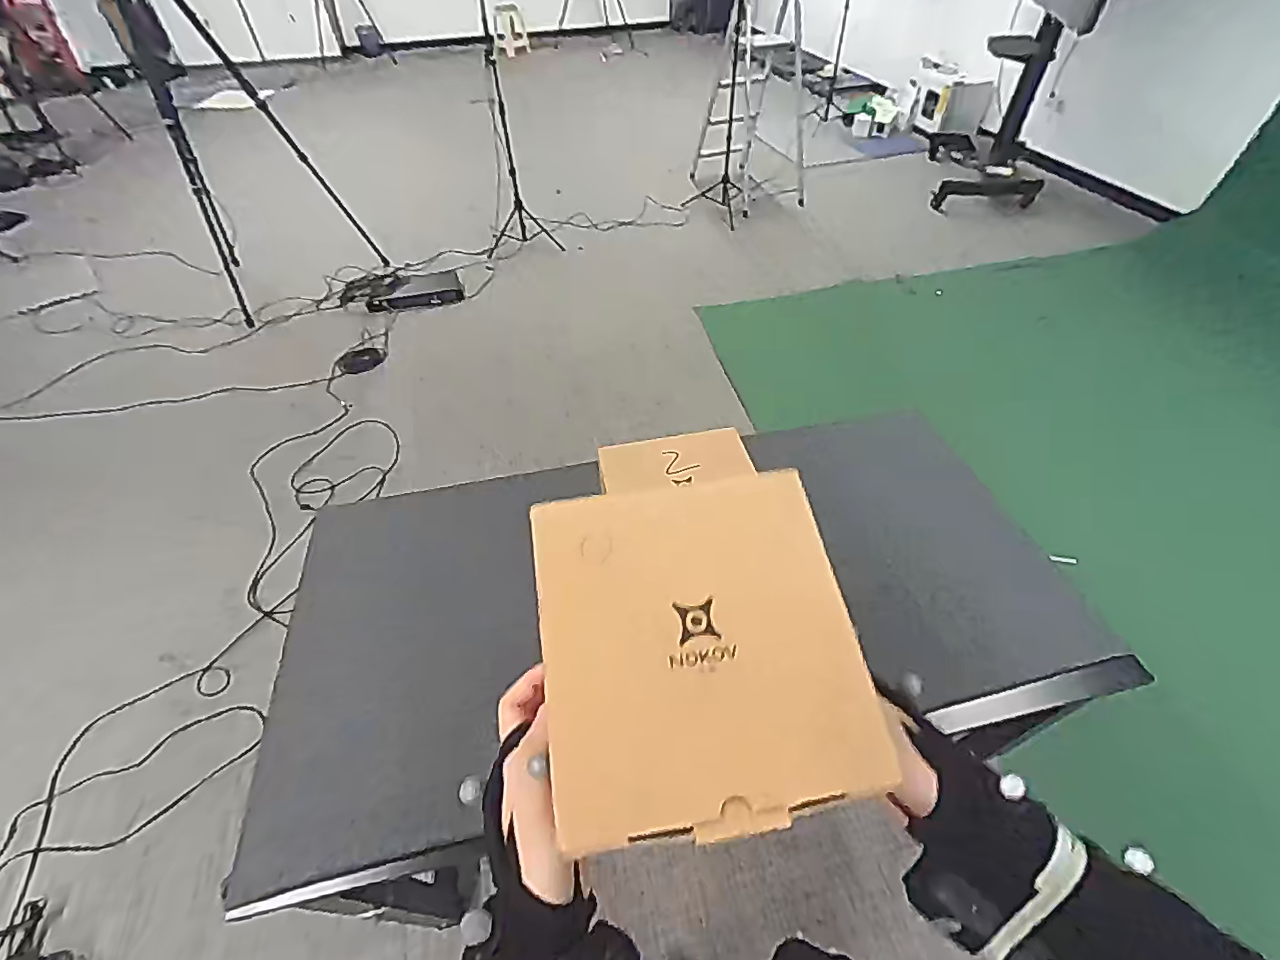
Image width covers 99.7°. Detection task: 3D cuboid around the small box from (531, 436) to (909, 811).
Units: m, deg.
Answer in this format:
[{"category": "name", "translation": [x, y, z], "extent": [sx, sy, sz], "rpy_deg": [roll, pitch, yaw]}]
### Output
[{"category": "small box", "translation": [0.027, 0.097, 0.348], "extent": [0.168, 0.176, 0.179], "rpy_deg": [-8, 62, -6]}]
